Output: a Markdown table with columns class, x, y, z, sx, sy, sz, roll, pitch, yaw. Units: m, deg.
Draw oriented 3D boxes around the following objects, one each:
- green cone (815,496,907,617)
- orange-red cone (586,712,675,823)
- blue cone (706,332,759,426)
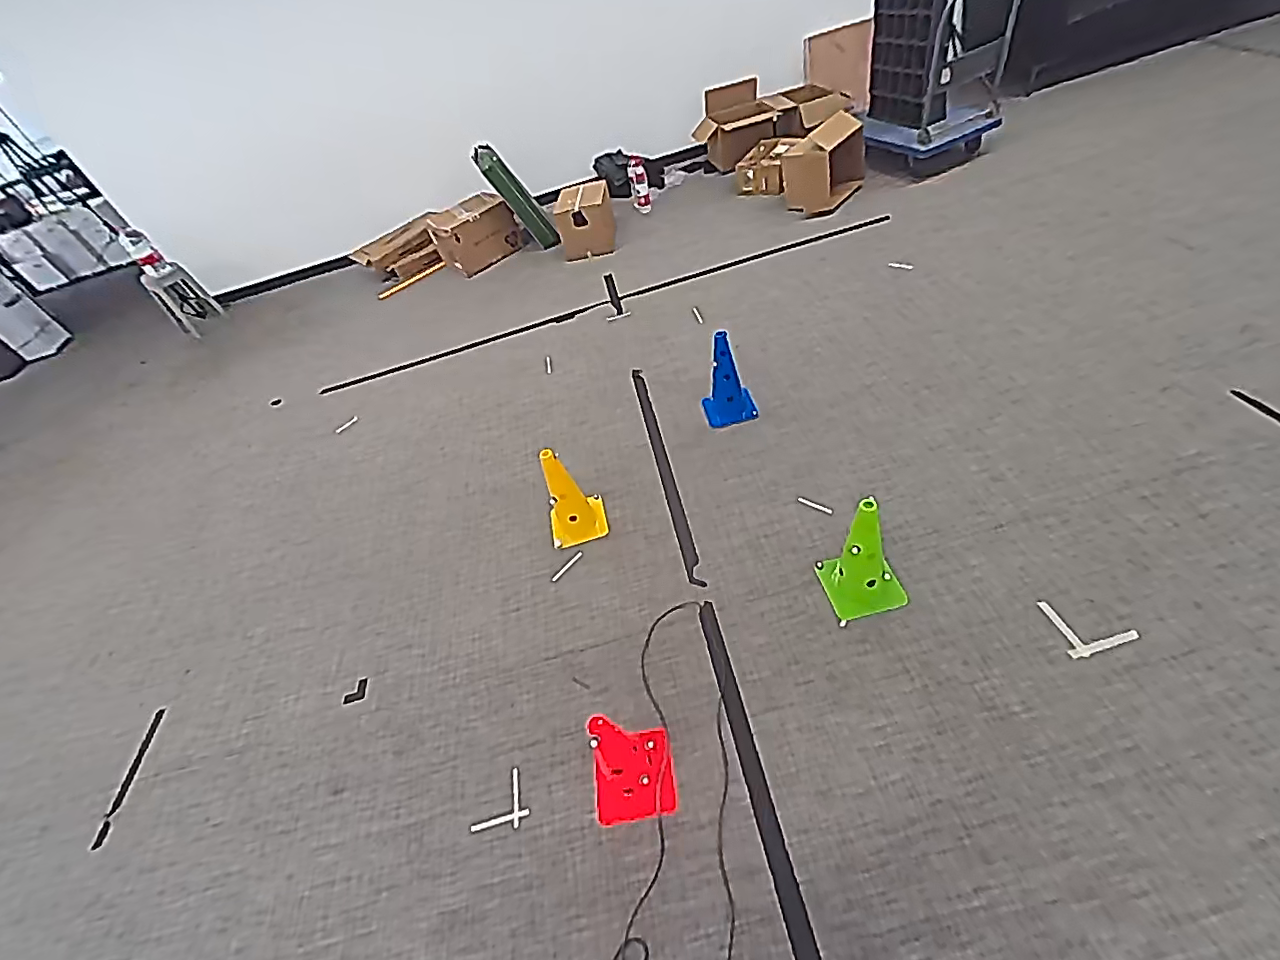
| class | x | y | z | sx | sy | sz | roll | pitch | yaw |
| --- | --- | --- | --- | --- | --- | --- | --- | --- | --- |
| green cone | 0.598 | 0.180 | 1.442 | 0.202 | 0.368 | 0.200 | -15 | 45 | 1 |
| orange-red cone | -0.055 | 0.617 | 1.232 | 0.199 | 0.360 | 0.198 | -14 | 43 | 6 |
| blue cone | 0.339 | -0.404 | 2.103 | 0.192 | 0.380 | 0.193 | -13 | 45 | 4 |
